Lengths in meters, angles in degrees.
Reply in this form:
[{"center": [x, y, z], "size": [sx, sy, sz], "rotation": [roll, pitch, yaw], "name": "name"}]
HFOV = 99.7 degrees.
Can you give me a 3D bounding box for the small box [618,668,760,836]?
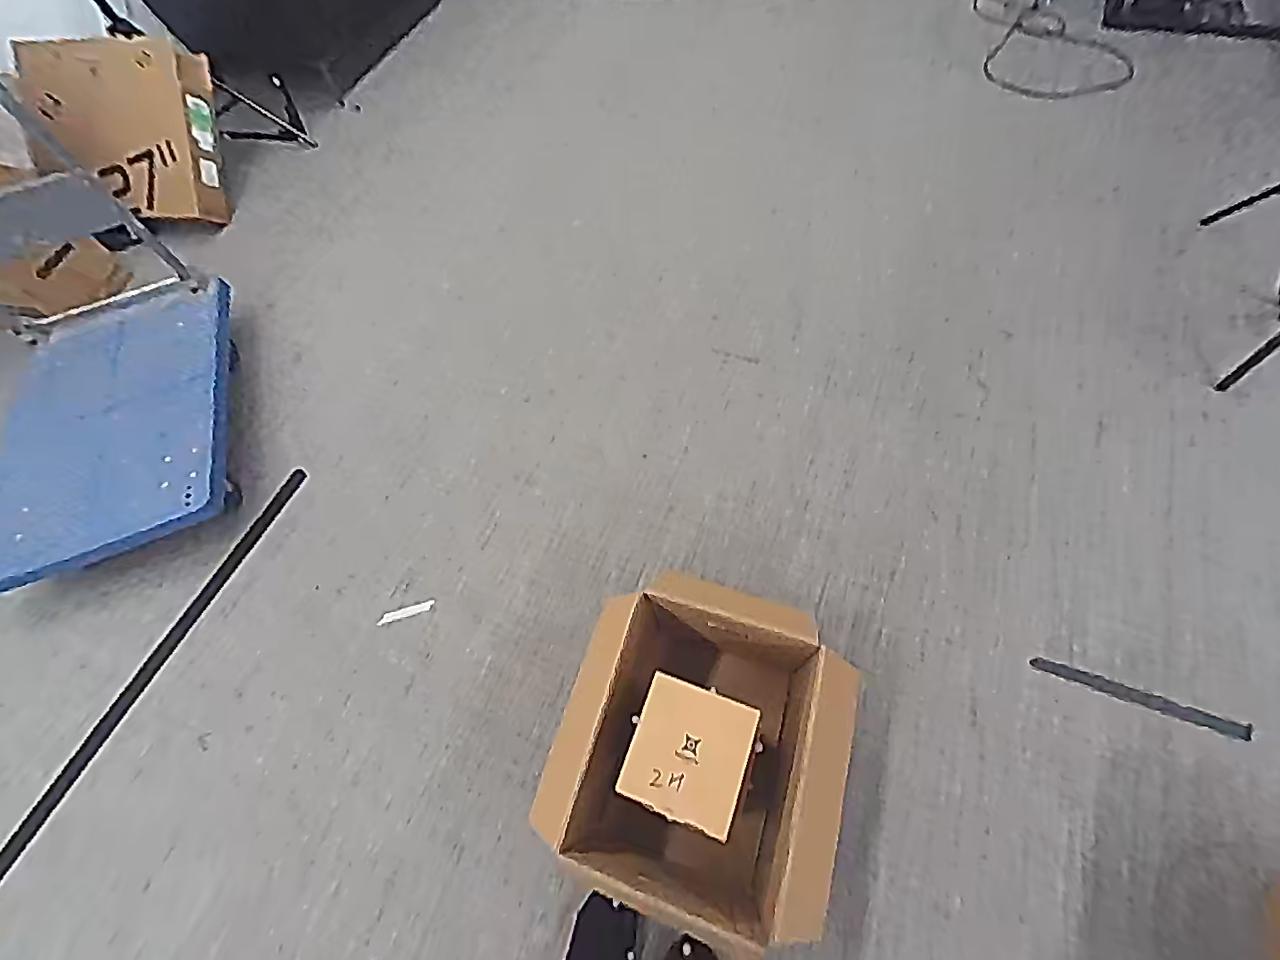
[{"center": [0.081, 0.422, 0.853], "size": [0.168, 0.176, 0.179], "rotation": [16, 67, 16], "name": "small box"}]
